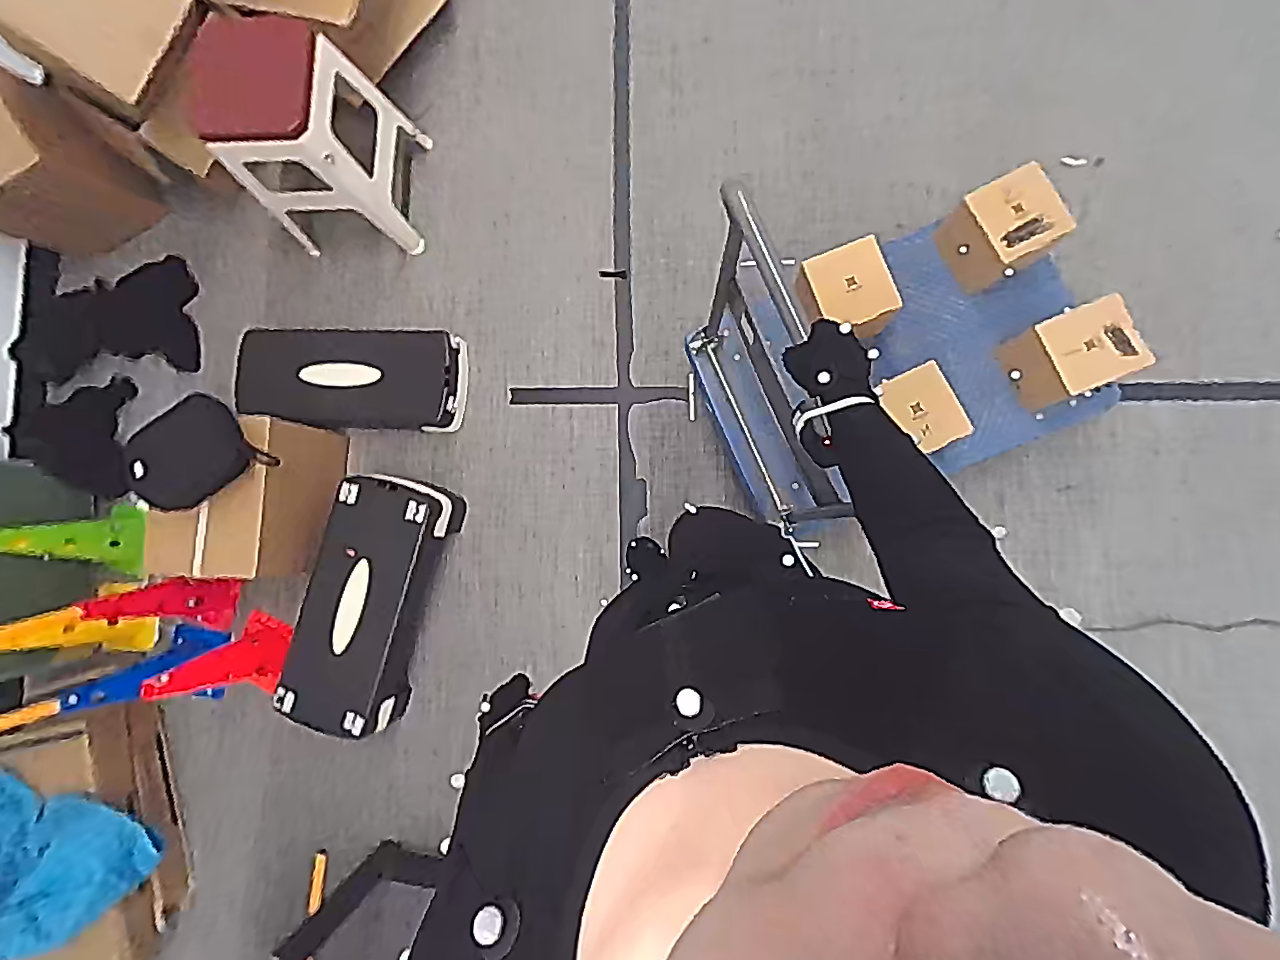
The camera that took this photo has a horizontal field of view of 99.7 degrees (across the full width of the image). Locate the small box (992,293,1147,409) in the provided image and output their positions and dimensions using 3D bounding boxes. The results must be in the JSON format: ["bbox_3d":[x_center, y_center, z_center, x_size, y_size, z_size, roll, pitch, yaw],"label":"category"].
[{"bbox_3d":[0.931,-0.275,1.189,0.179,0.176,0.168,-23,83,5],"label":"small box"}]

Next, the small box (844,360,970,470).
[{"bbox_3d":[0.586,-0.138,1.216,0.168,0.176,0.179,-26,83,4],"label":"small box"}]

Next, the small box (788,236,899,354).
[{"bbox_3d":[0.460,-0.420,1.253,0.168,0.176,0.179,-21,85,4],"label":"small box"}]
